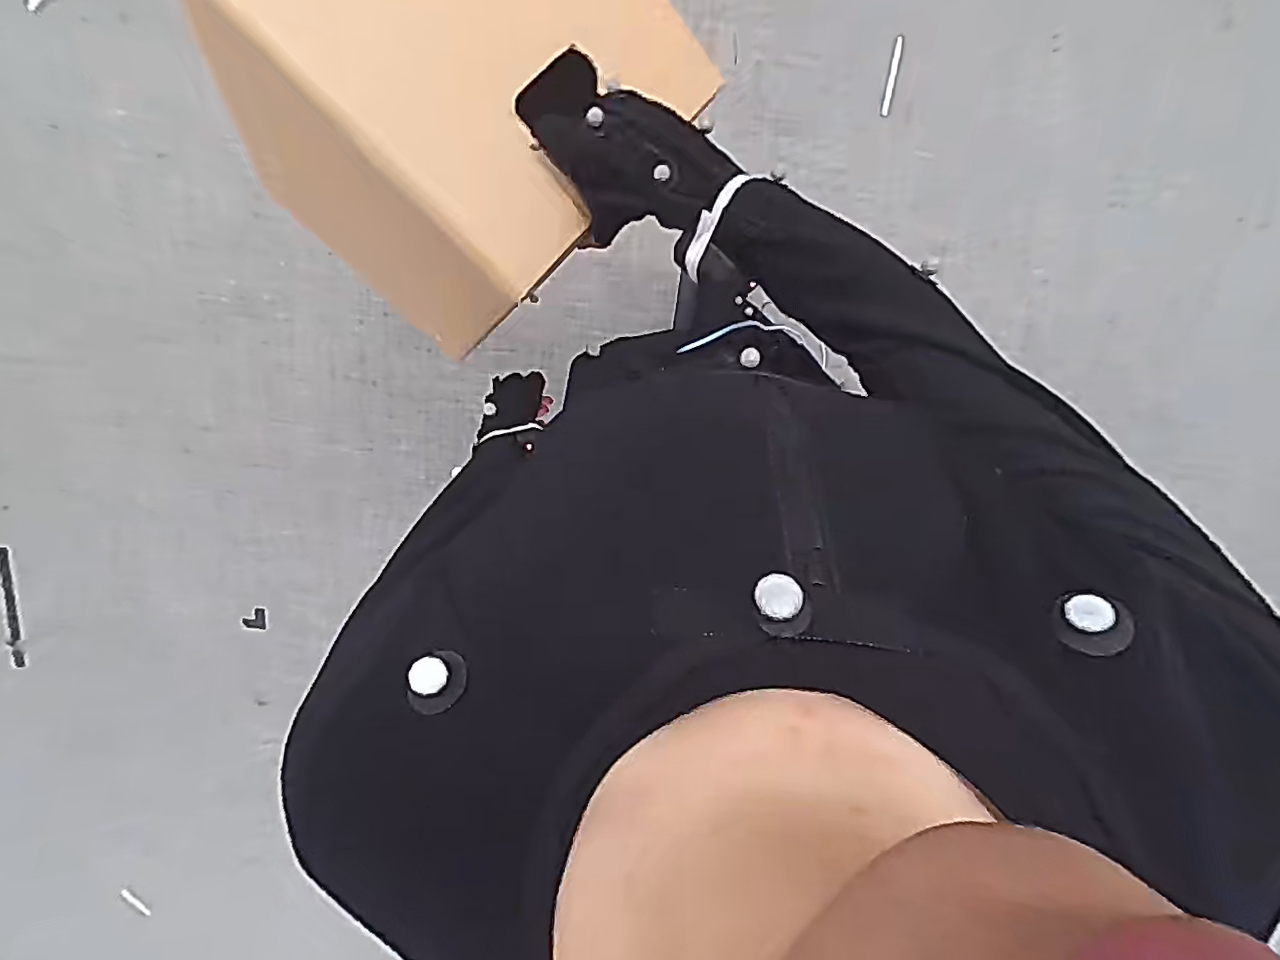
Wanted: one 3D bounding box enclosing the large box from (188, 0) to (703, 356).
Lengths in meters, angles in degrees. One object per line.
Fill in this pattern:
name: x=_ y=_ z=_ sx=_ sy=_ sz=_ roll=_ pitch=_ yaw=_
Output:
large box: x=-0.208 y=-0.383 z=0.628 sx=0.320 sy=0.408 sz=0.320 roll=44 pitch=75 yaw=-22
